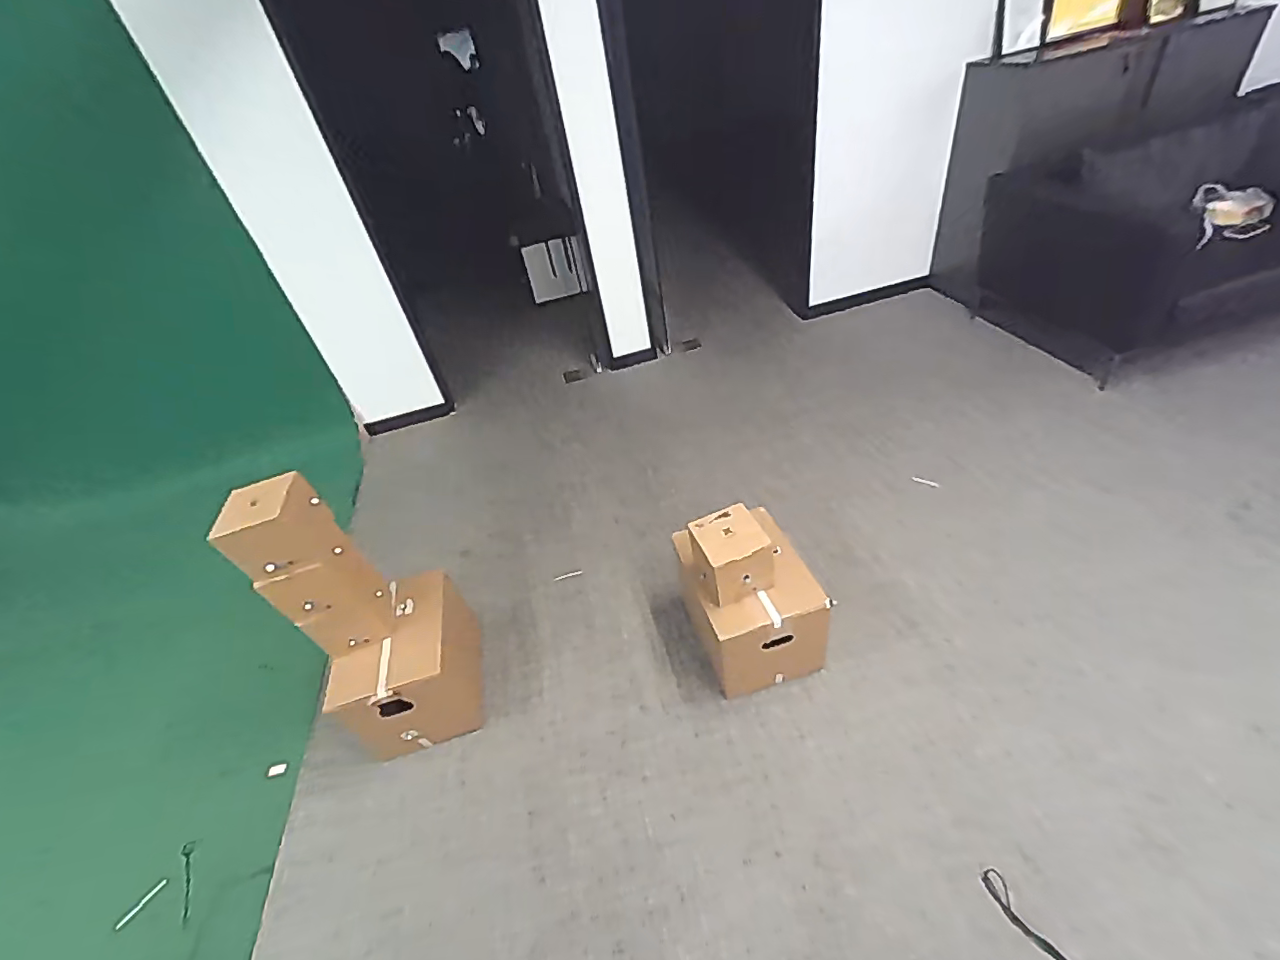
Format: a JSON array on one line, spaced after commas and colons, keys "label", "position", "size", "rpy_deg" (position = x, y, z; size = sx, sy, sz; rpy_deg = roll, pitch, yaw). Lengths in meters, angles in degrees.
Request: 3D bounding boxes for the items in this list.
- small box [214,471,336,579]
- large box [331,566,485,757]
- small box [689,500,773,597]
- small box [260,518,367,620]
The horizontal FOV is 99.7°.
[{"label": "small box", "position": [-0.883, 0.112, 1.330], "size": [0.168, 0.176, 0.179], "rpy_deg": [-19, 42, -2]}, {"label": "large box", "position": [-0.684, 0.548, 1.658], "size": [0.320, 0.320, 0.408], "rpy_deg": [-18, 39, -5]}, {"label": "small box", "position": [0.248, 0.191, 1.456], "size": [0.168, 0.176, 0.179], "rpy_deg": [-21, 41, -7]}, {"label": "small box", "position": [-0.851, 0.237, 1.431], "size": [0.168, 0.176, 0.179], "rpy_deg": [-20, 41, -3]}]
